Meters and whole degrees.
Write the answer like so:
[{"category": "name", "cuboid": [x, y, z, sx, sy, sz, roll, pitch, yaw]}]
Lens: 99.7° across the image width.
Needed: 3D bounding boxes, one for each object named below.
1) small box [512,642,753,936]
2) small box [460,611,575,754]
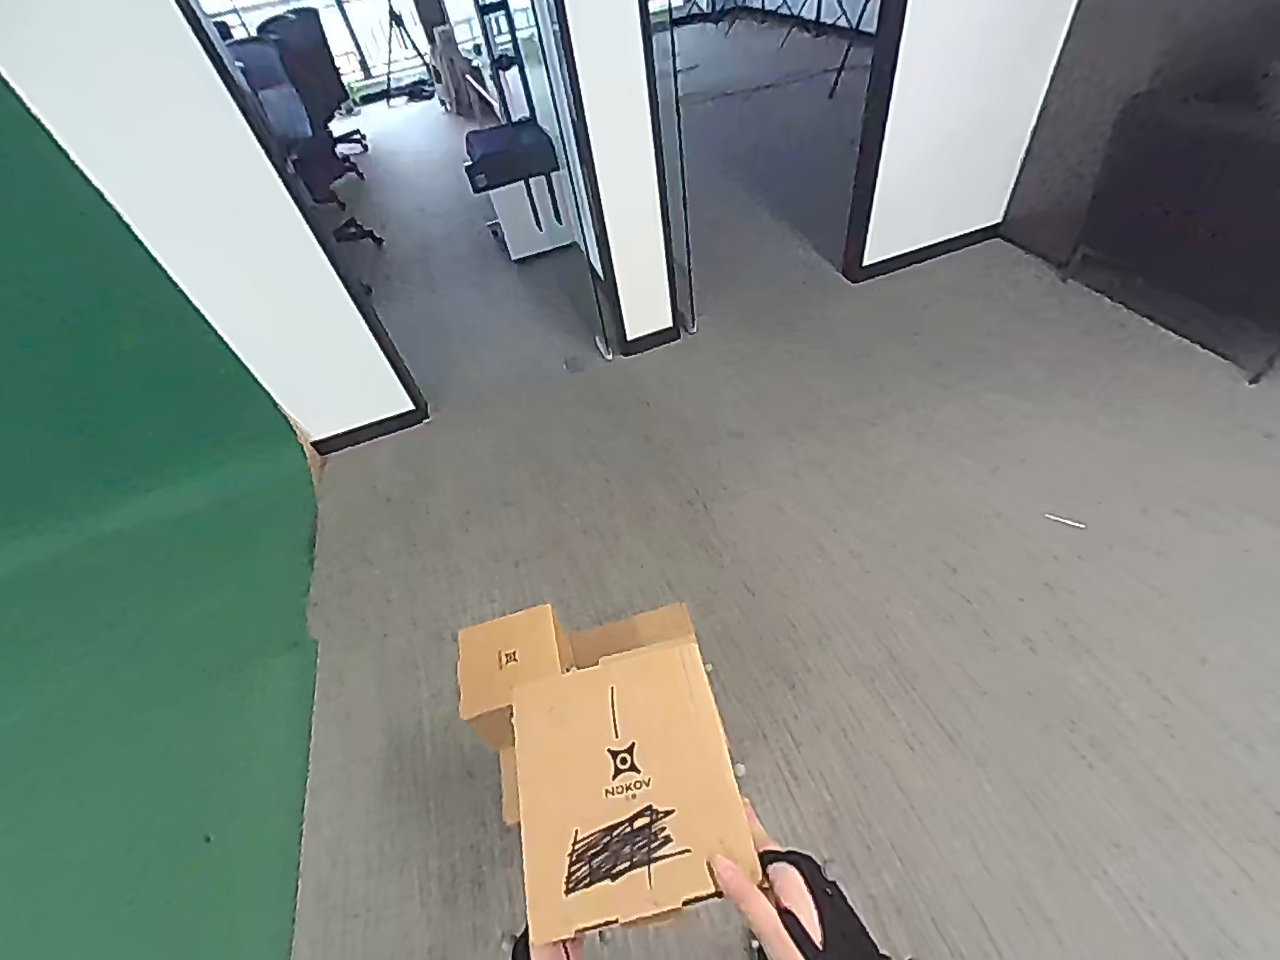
[{"category": "small box", "cuboid": [-0.007, 0.273, 0.487, 0.168, 0.176, 0.179, -13, 53, -3]}, {"category": "small box", "cuboid": [-0.211, 0.370, 0.983, 0.179, 0.176, 0.168, -16, 46, -3]}]
